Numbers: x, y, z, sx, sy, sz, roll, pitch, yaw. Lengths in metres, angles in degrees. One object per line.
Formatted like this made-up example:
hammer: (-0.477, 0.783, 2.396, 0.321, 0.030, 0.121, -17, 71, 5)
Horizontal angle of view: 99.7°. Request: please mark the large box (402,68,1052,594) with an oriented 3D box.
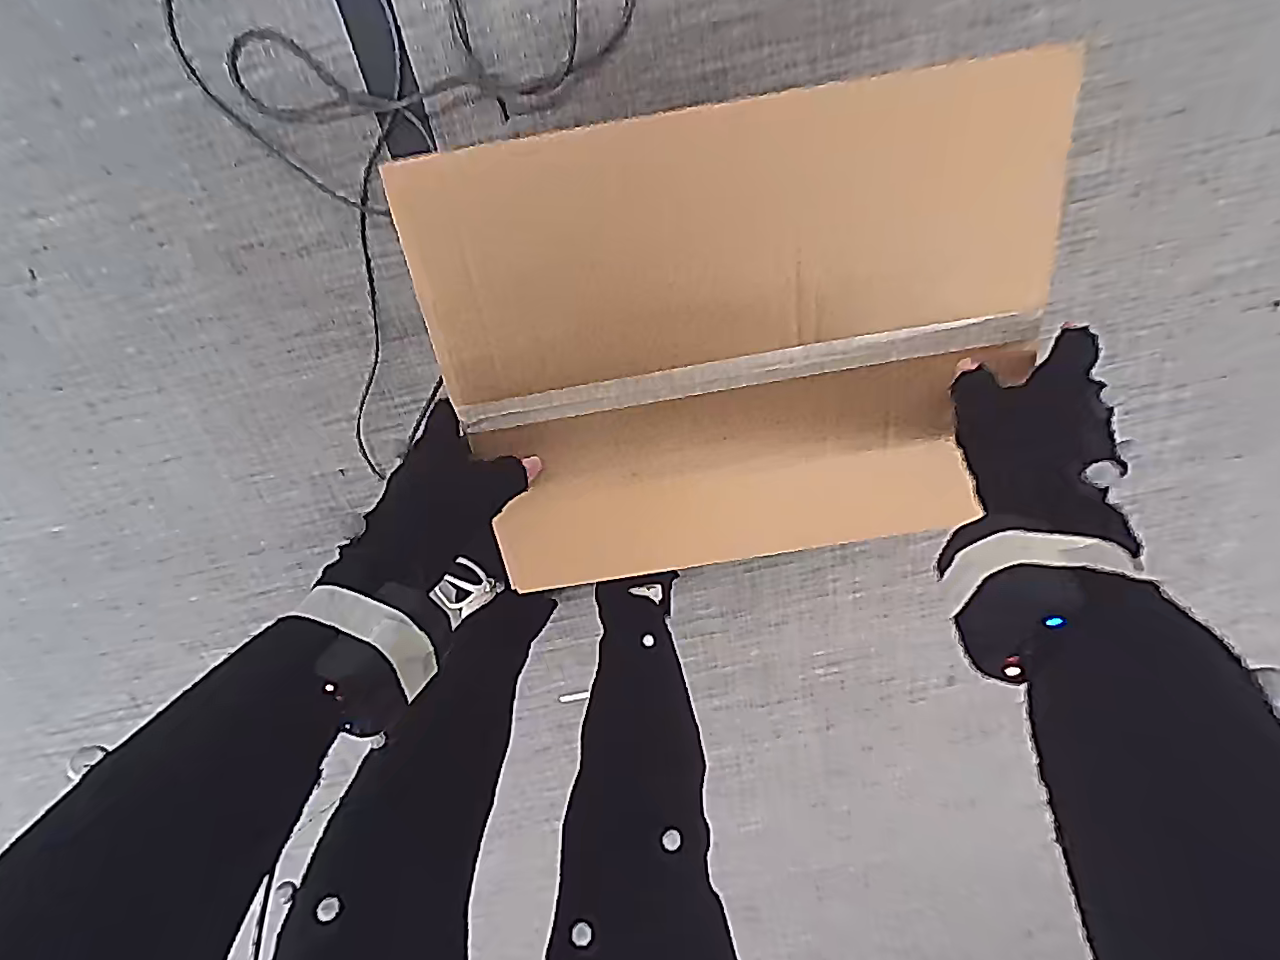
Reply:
large box: (0.064, -0.134, 0.519, 0.408, 0.320, 0.320, -9, 116, 2)
